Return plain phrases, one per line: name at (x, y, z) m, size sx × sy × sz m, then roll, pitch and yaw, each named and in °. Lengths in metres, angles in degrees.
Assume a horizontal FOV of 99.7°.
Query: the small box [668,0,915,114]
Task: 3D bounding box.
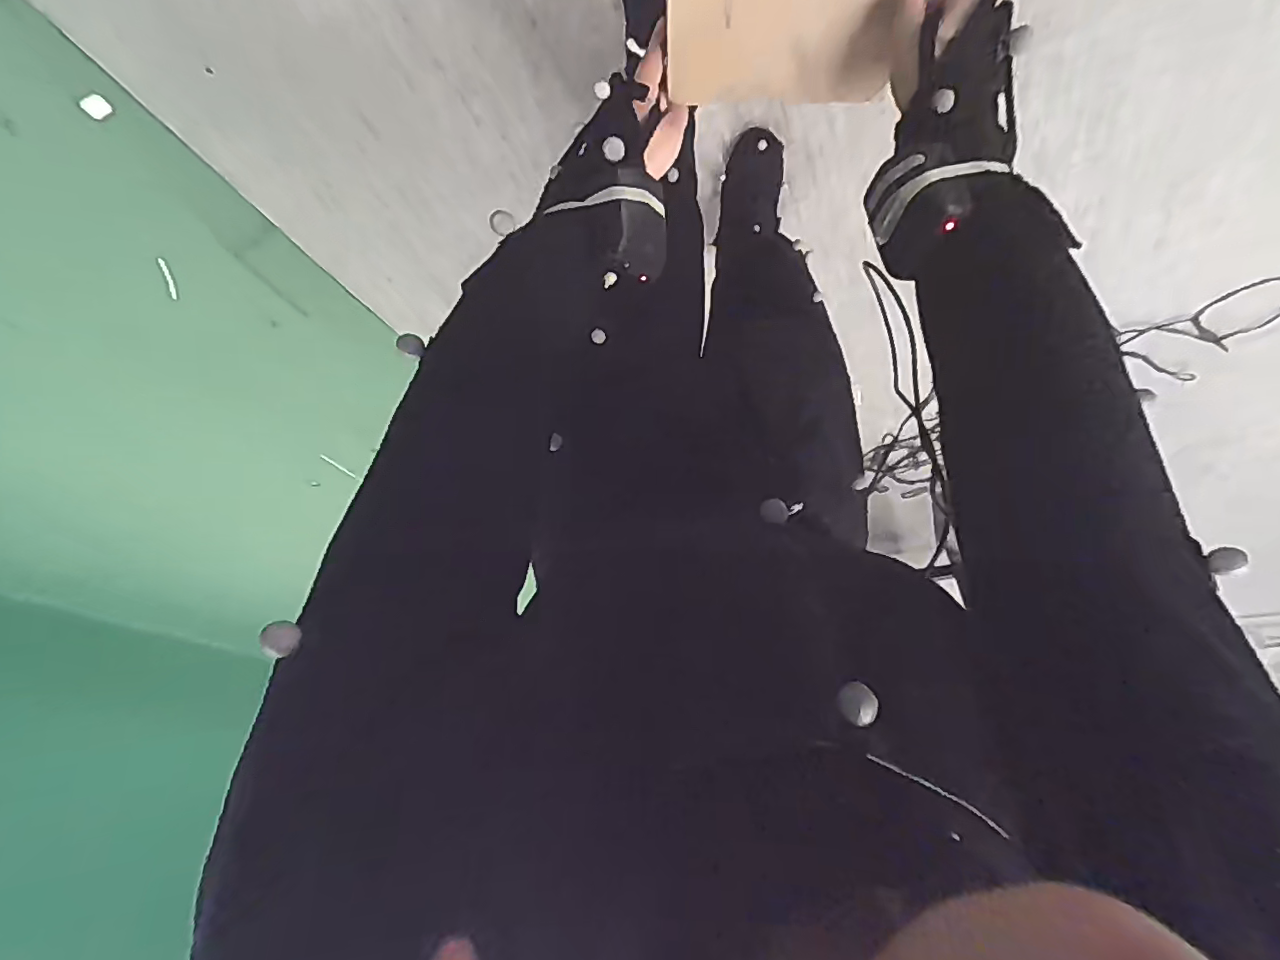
small box at (0.112, -0.408, 0.429) m, size 0.179 × 0.176 × 0.168 m, roll 1°, pitch 136°, yaw 3°
